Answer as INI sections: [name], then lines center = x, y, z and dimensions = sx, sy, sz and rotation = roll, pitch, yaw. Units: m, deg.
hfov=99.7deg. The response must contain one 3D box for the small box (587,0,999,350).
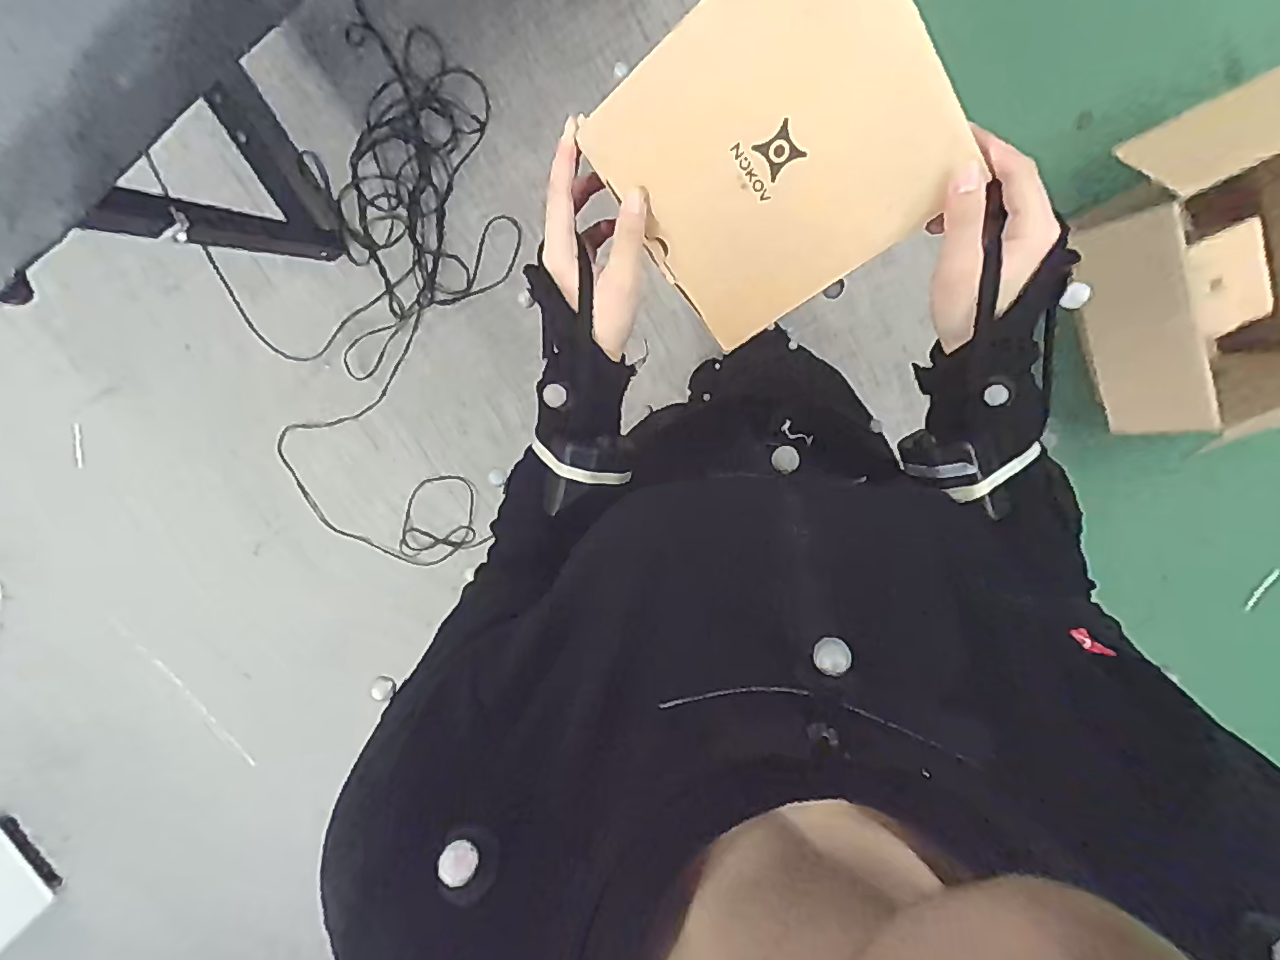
[small box]
center = 0.096, -0.226, 0.369
dimensions = 0.179, 0.176, 0.168
rotation = -29, 111, 28
